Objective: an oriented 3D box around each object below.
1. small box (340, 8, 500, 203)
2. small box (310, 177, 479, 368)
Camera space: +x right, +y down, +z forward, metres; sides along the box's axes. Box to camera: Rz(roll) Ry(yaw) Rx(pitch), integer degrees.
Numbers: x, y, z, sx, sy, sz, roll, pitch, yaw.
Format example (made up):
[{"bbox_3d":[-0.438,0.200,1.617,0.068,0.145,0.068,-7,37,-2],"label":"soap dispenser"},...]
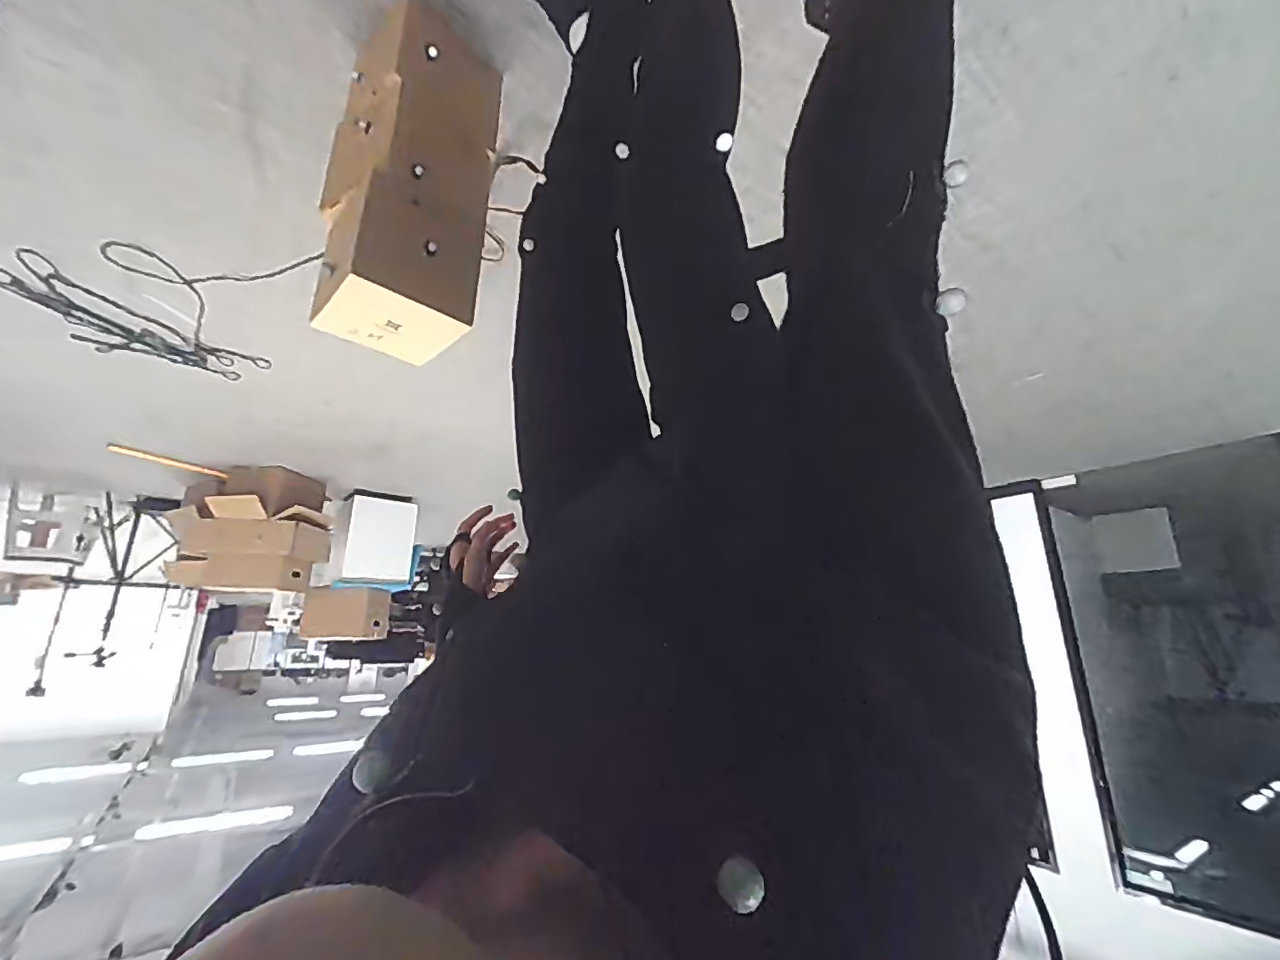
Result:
[{"bbox_3d":[-0.351,-0.606,0.880,0.168,0.176,0.179,-11,161,35],"label":"small box"},{"bbox_3d":[-0.351,-0.293,0.788,0.179,0.176,0.168,-14,157,42],"label":"small box"}]
